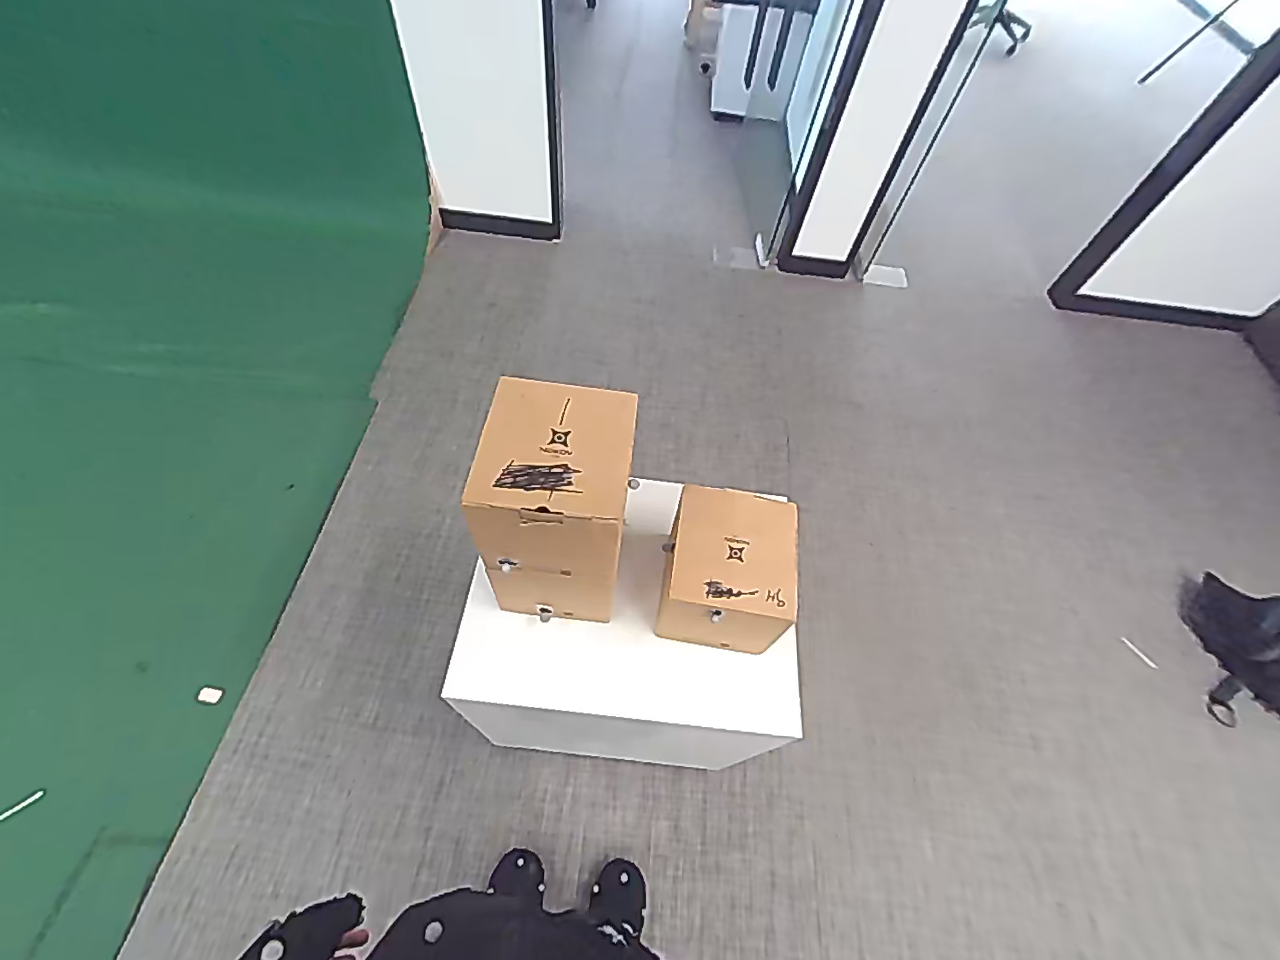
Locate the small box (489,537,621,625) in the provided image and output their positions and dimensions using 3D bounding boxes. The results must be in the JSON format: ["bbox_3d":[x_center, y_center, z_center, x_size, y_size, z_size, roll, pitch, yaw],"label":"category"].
[{"bbox_3d":[-0.113,0.099,0.801,0.168,0.176,0.179,5,59,-1],"label":"small box"}]

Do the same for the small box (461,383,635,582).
[{"bbox_3d":[-0.100,0.010,0.663,0.168,0.176,0.179,8,56,-1],"label":"small box"}]

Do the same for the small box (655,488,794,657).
[{"bbox_3d":[0.120,0.140,0.796,0.168,0.176,0.179,10,57,1],"label":"small box"}]
